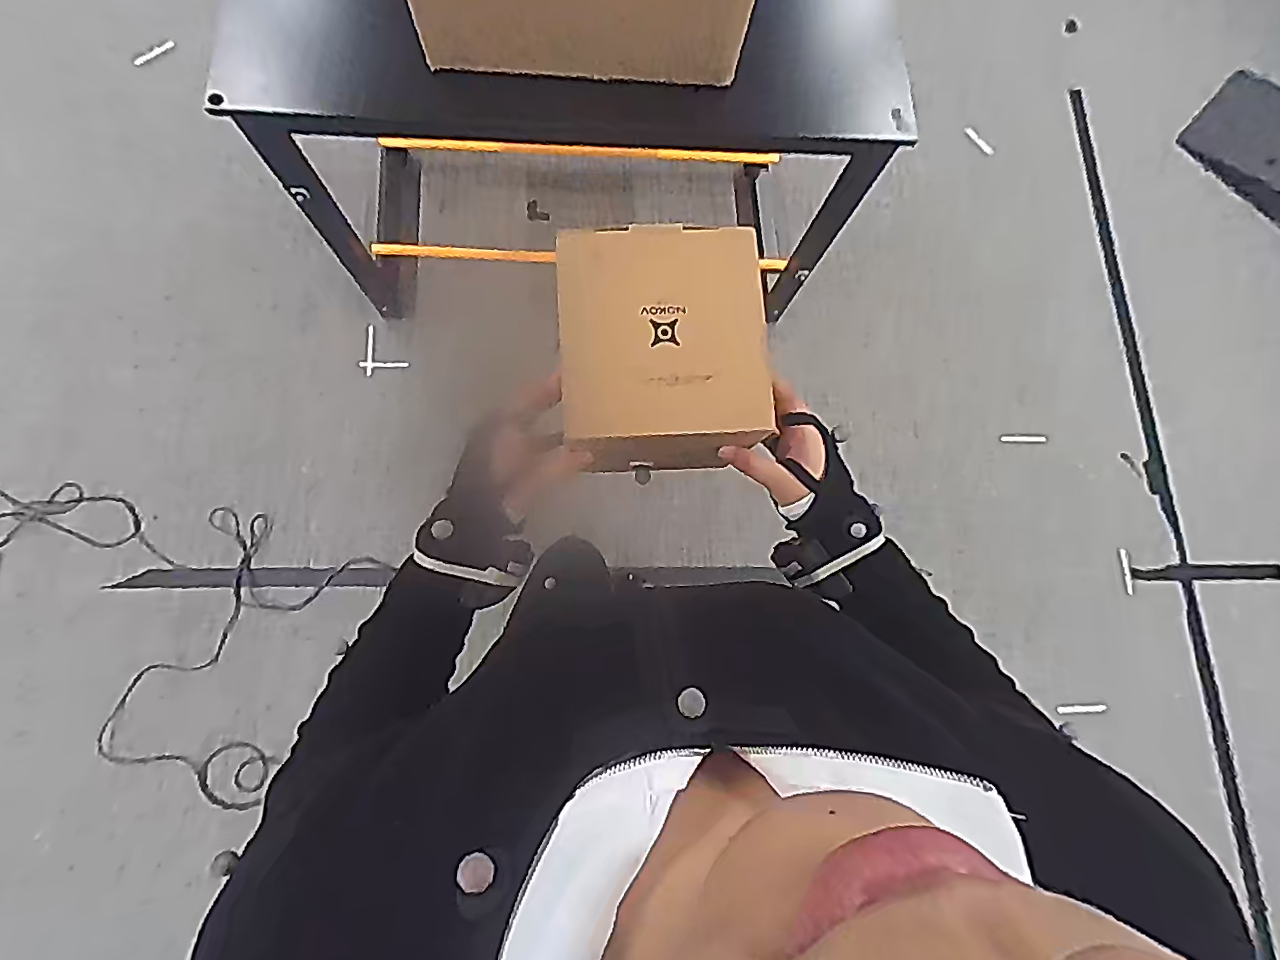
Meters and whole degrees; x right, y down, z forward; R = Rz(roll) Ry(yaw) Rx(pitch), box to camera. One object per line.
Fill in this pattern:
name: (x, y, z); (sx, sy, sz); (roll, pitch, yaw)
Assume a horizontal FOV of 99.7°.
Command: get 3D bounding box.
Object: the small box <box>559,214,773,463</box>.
small box: (0.012, -0.119, 0.508); (0.168, 0.176, 0.179); (-3, 82, -5)
